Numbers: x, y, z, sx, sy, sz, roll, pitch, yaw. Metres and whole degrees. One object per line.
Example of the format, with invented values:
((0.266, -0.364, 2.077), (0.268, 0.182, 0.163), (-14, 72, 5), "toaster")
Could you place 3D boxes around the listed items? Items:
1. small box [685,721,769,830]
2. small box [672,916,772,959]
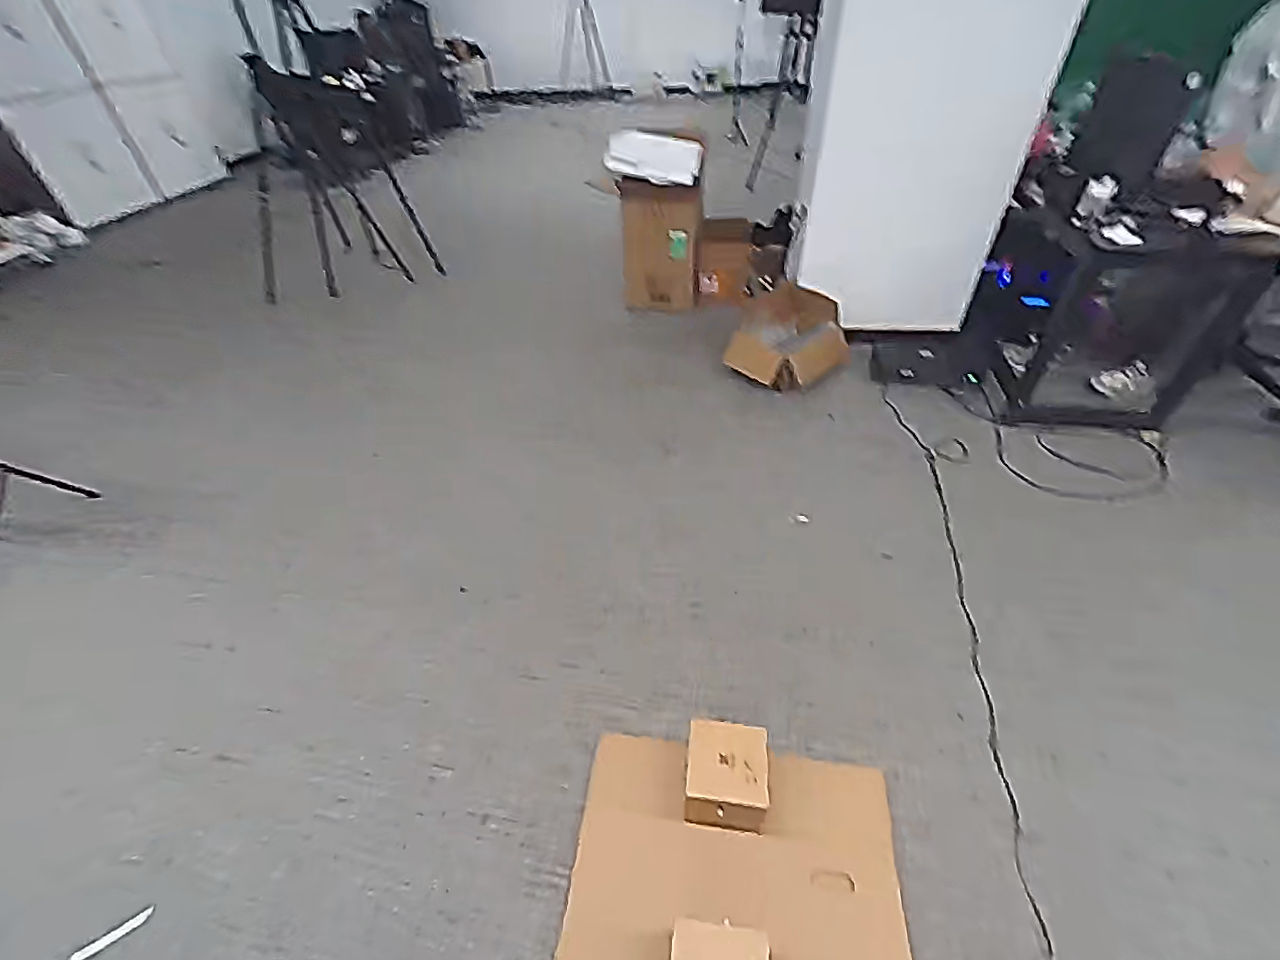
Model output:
((0.199, 0.683, 1.247), (0.179, 0.176, 0.168), (5, 44, 7), "small box")
((0.142, 0.928, 0.986), (0.179, 0.176, 0.168), (4, 43, 8), "small box")
